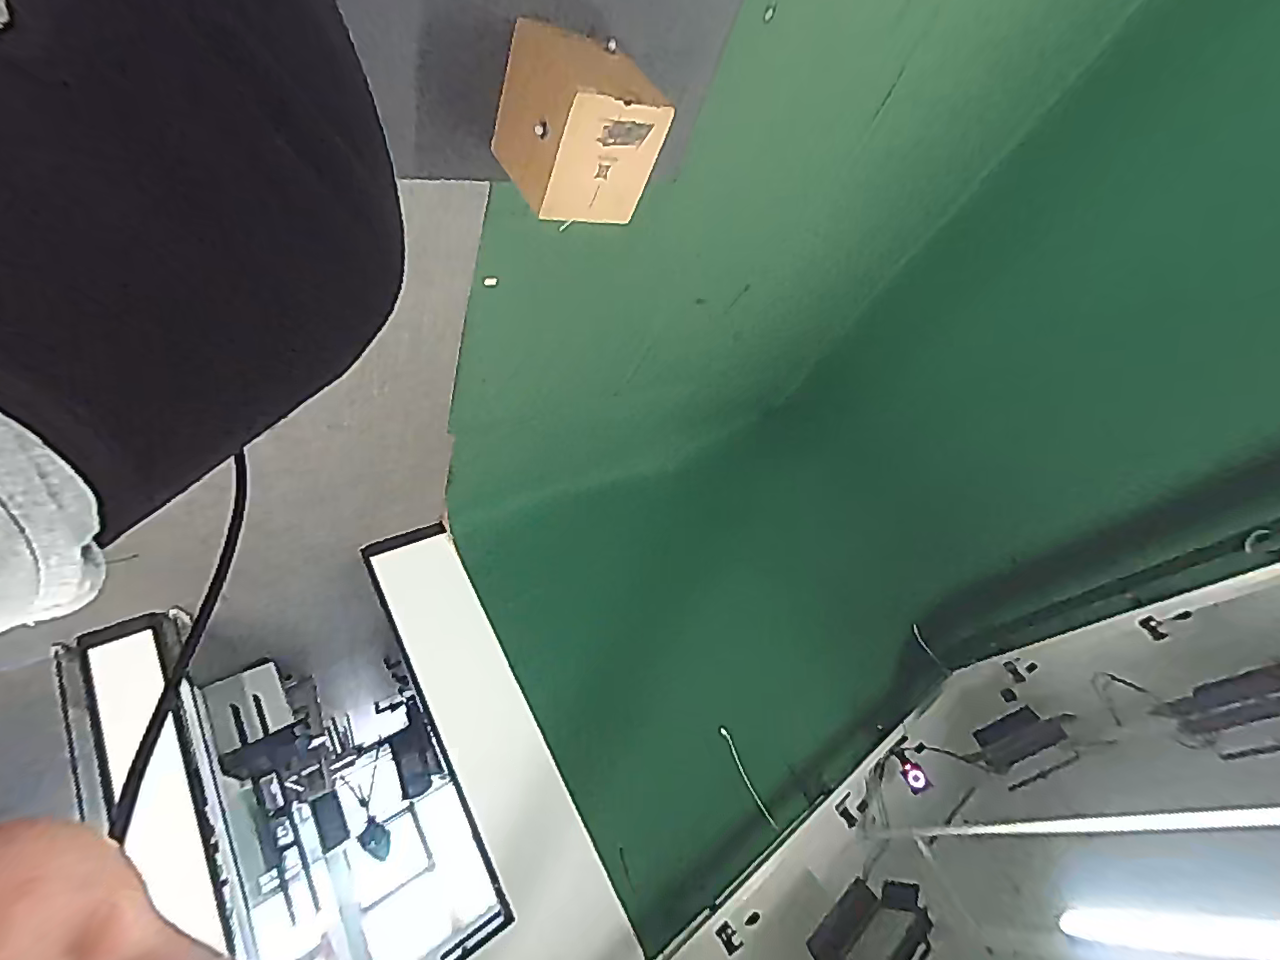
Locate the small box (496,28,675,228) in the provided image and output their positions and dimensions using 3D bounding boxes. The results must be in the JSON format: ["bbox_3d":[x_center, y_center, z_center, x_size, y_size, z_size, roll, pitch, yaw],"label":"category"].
[{"bbox_3d":[-0.087,-0.494,0.775,0.168,0.176,0.179,-17,156,-37],"label":"small box"}]
